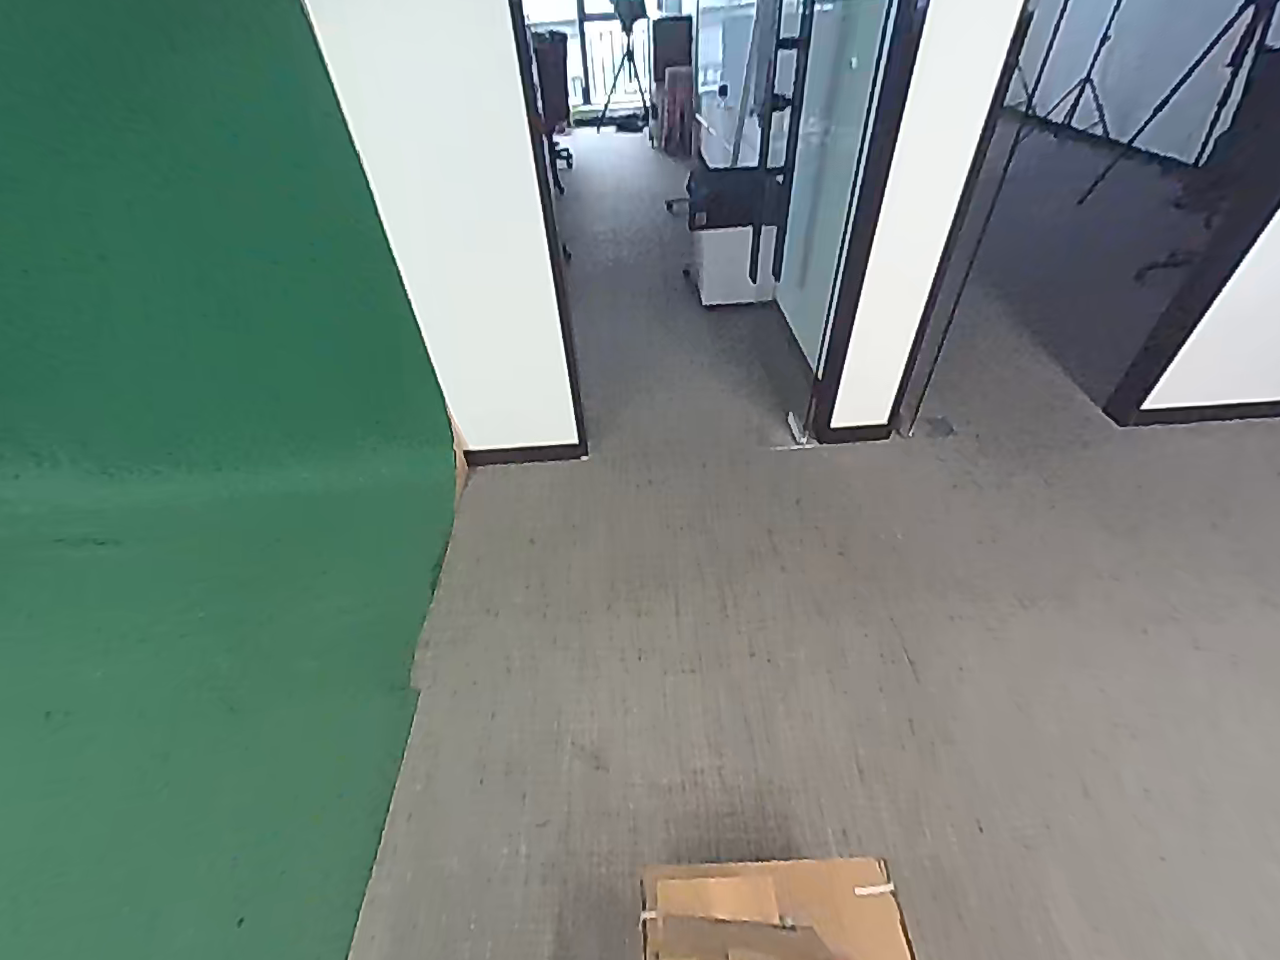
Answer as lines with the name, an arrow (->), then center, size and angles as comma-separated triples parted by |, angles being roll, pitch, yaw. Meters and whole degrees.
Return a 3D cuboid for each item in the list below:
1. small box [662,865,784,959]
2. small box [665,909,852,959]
small box -> 0.117, 0.672, 0.758 | 0.168, 0.176, 0.179 | -4, 40, 2
small box -> 0.103, 0.519, 0.490 | 0.168, 0.176, 0.179 | 1, 64, 5
